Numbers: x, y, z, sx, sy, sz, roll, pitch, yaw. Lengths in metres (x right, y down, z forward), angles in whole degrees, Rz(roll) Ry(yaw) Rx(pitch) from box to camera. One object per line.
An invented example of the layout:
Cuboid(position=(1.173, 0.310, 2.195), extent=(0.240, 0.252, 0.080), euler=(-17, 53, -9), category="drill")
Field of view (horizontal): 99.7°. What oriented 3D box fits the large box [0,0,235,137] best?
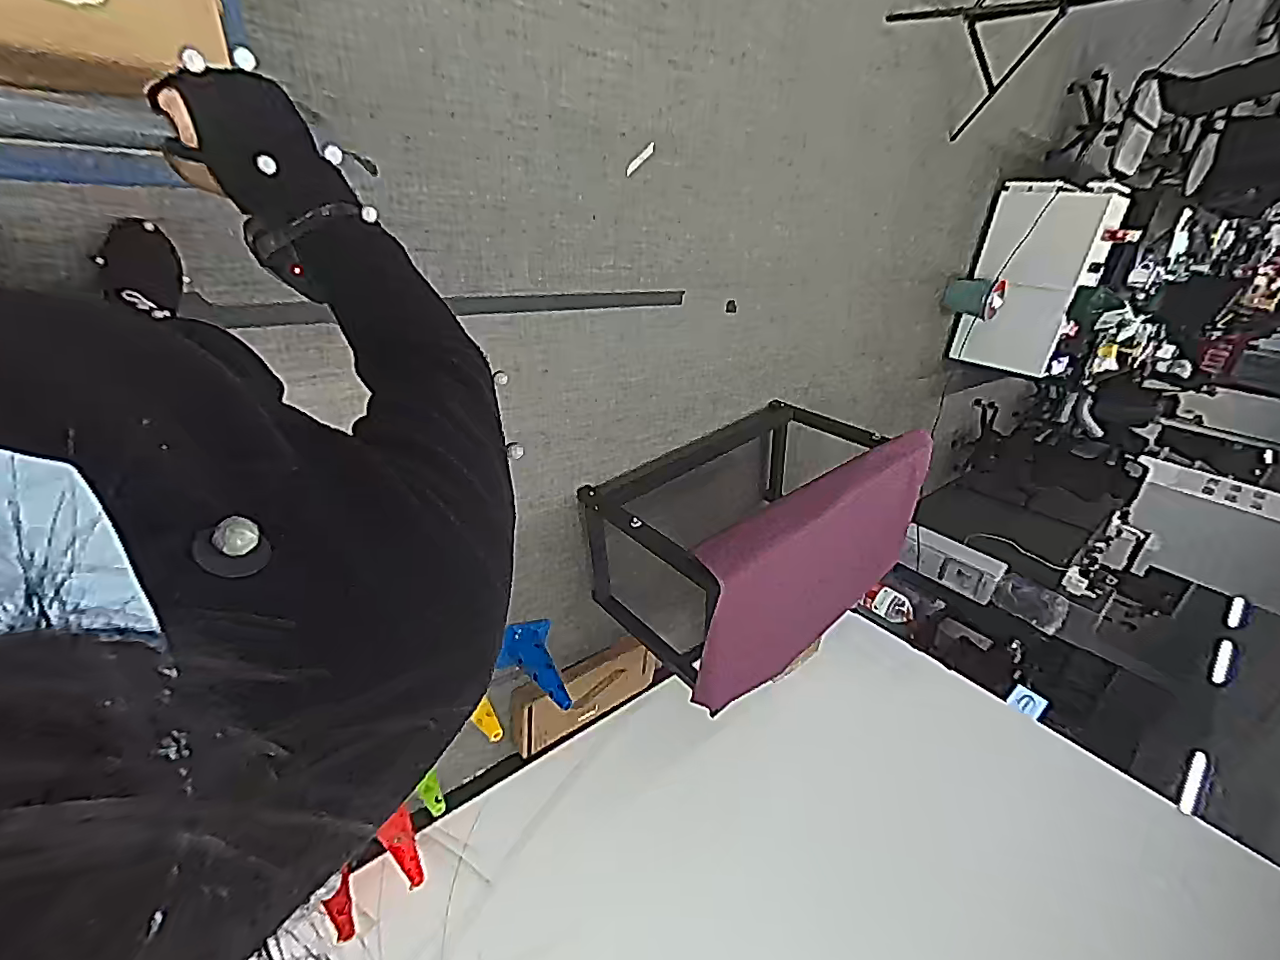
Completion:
Cuboid(position=(-0.775, -0.611, 0.629), extent=(0.408, 0.320, 0.320), euler=(-18, 124, -37), category="large box")
